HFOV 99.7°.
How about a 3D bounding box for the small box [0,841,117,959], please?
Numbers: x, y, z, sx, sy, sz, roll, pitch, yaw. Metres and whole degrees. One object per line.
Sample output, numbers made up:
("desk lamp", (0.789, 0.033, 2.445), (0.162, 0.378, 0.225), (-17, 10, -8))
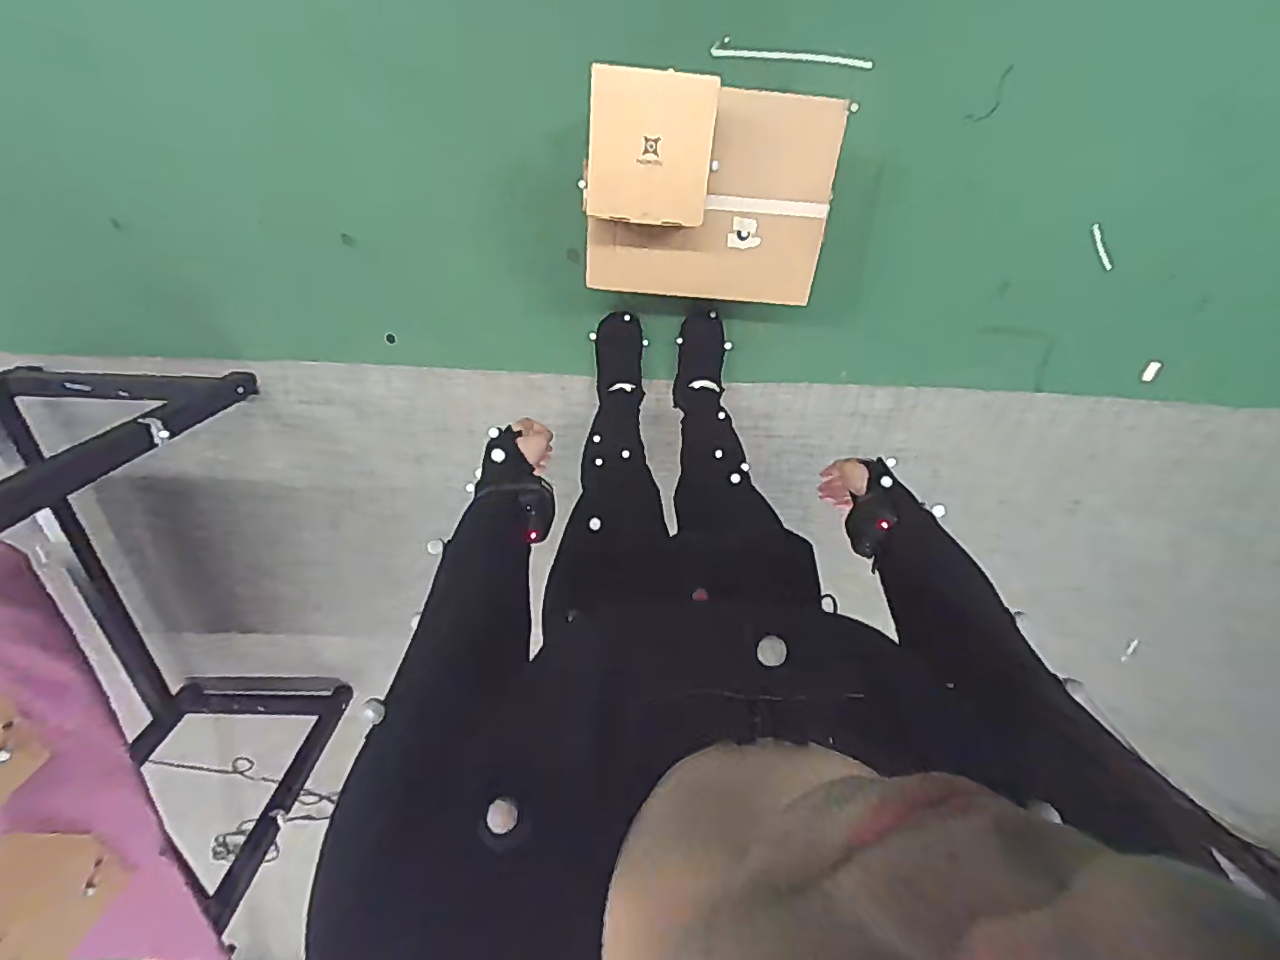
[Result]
("small box", (-1.112, 0.773, 0.962), (0.179, 0.176, 0.168), (2, 119, 0))

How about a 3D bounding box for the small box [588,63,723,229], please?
("small box", (0.014, -0.467, 0.778), (0.168, 0.176, 0.179), (4, 118, -3))

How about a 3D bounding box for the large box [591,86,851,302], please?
("large box", (0.115, -0.530, 1.020), (0.408, 0.320, 0.320), (3, 119, -3))

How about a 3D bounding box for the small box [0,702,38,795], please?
("small box", (-1.064, 0.427, 0.778), (0.179, 0.176, 0.168), (2, 118, -2))
